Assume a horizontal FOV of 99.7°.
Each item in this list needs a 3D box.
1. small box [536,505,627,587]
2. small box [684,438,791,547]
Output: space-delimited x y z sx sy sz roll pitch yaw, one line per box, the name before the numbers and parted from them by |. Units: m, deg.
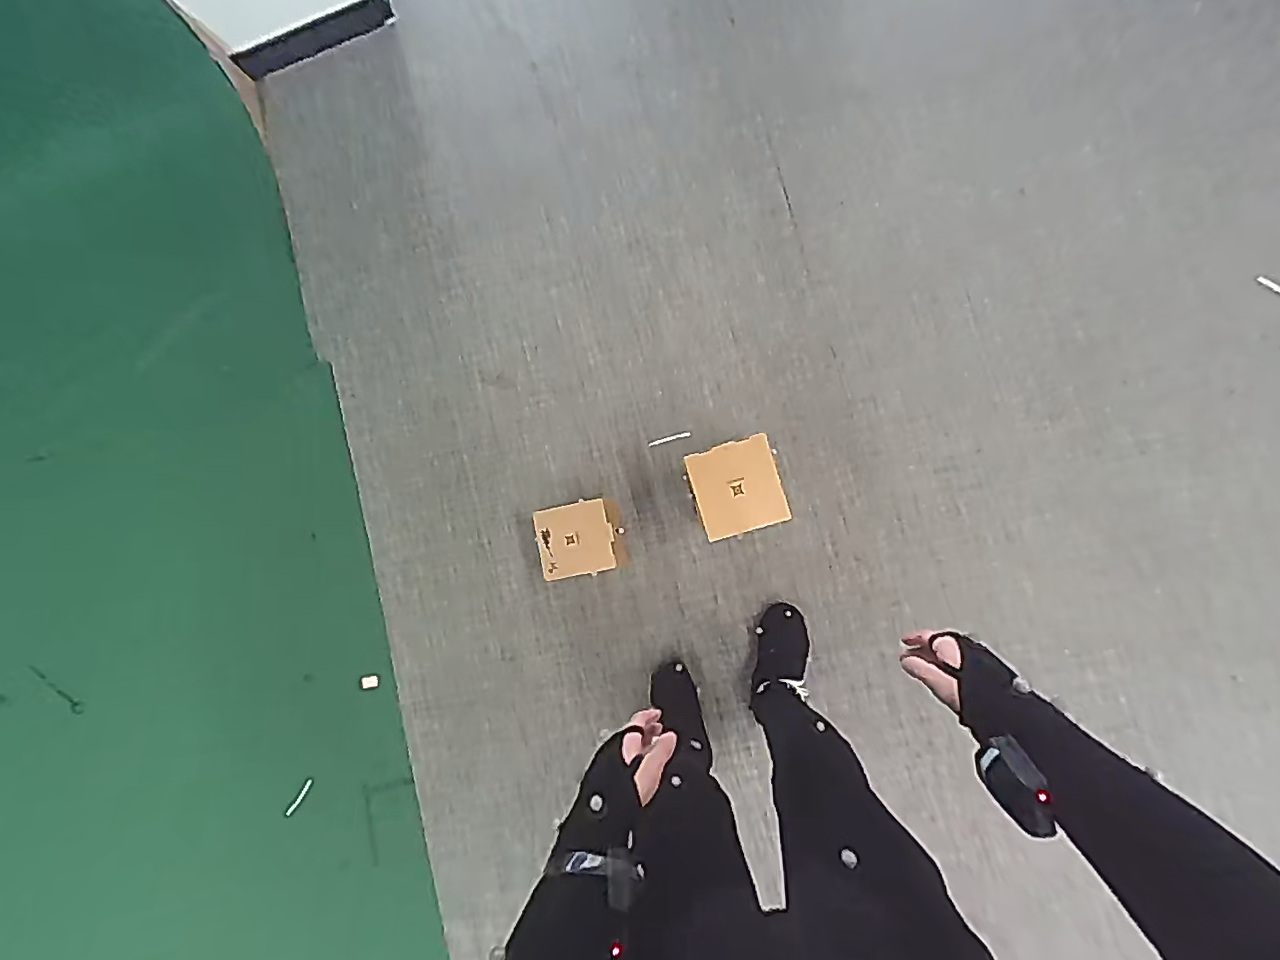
small box | -0.134 0.156 1.321 0.179 0.176 0.168 -13 84 6
small box | 0.199 0.029 1.115 0.168 0.176 0.179 -18 83 7
